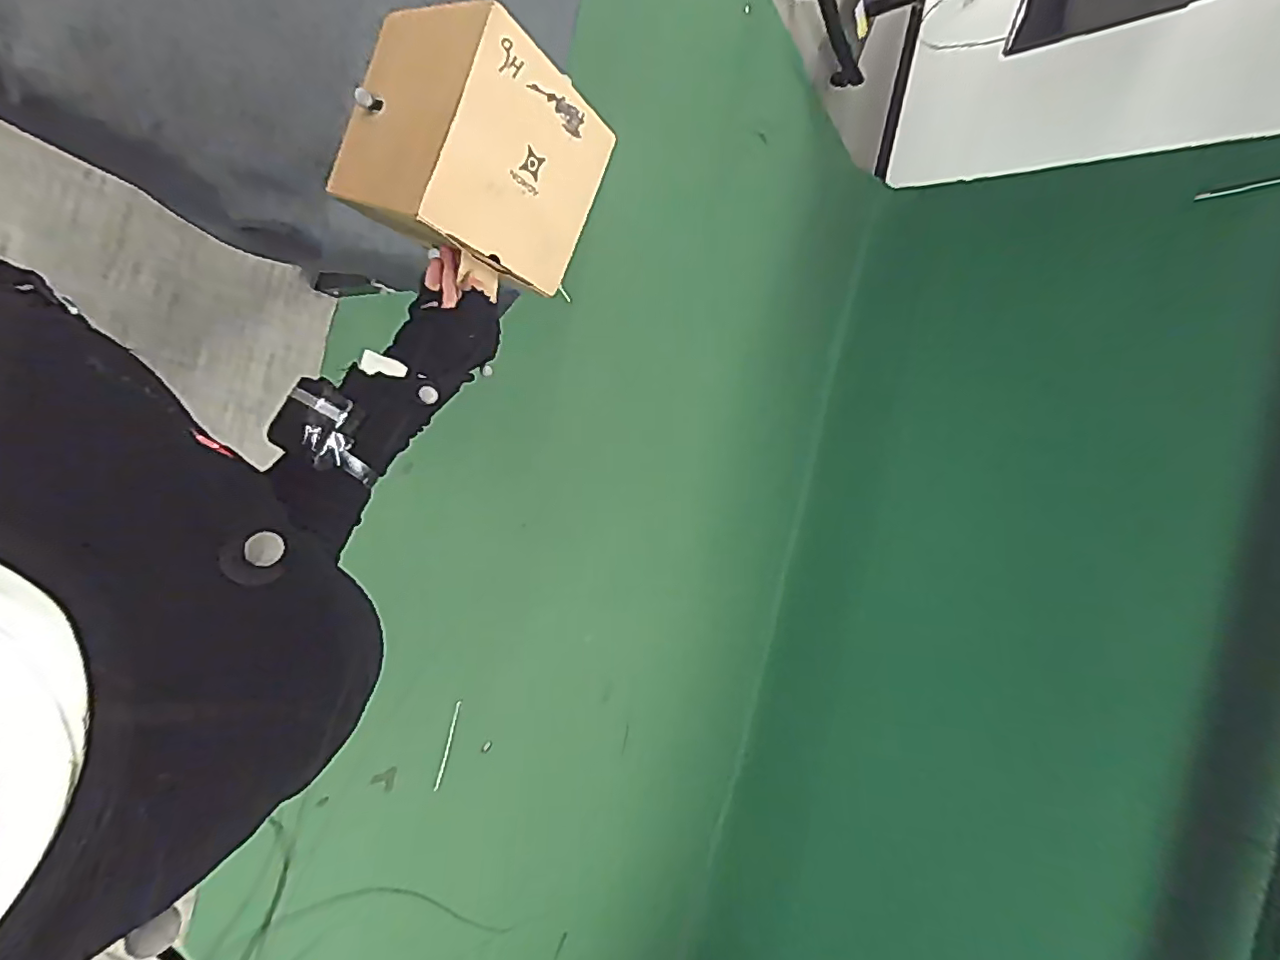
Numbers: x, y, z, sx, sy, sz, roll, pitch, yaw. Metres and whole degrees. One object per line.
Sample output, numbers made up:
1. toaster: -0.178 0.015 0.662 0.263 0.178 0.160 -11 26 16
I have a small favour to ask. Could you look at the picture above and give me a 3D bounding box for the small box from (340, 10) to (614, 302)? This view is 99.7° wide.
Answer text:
1. small box: -0.163 -0.308 0.534 0.168 0.176 0.179 13 104 -58
